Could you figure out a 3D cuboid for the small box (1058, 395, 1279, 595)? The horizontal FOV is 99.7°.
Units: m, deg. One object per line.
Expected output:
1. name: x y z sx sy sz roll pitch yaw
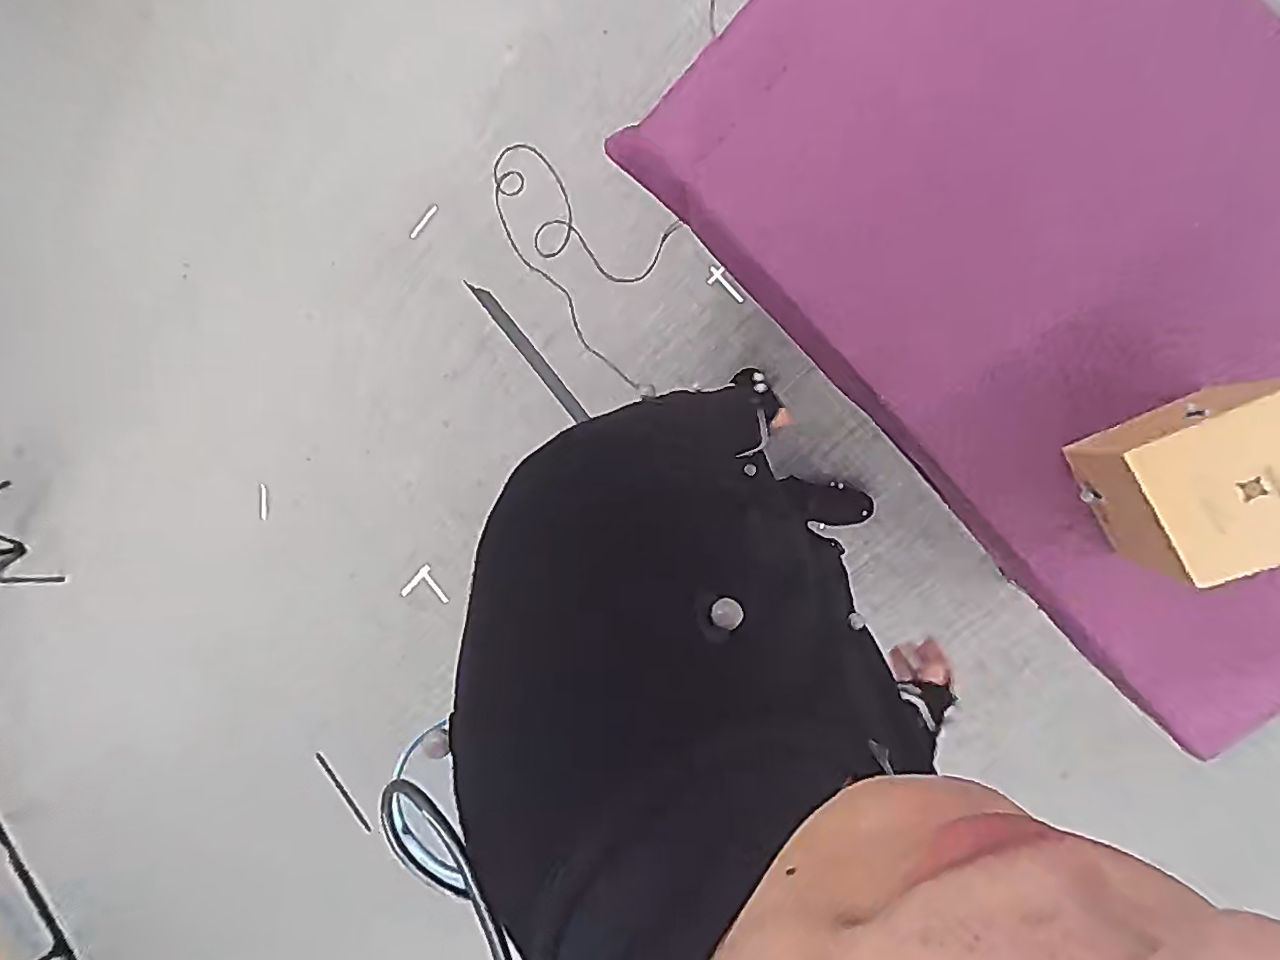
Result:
1. small box: 0.650 0.009 0.633 0.179 0.176 0.168 -26 86 18
